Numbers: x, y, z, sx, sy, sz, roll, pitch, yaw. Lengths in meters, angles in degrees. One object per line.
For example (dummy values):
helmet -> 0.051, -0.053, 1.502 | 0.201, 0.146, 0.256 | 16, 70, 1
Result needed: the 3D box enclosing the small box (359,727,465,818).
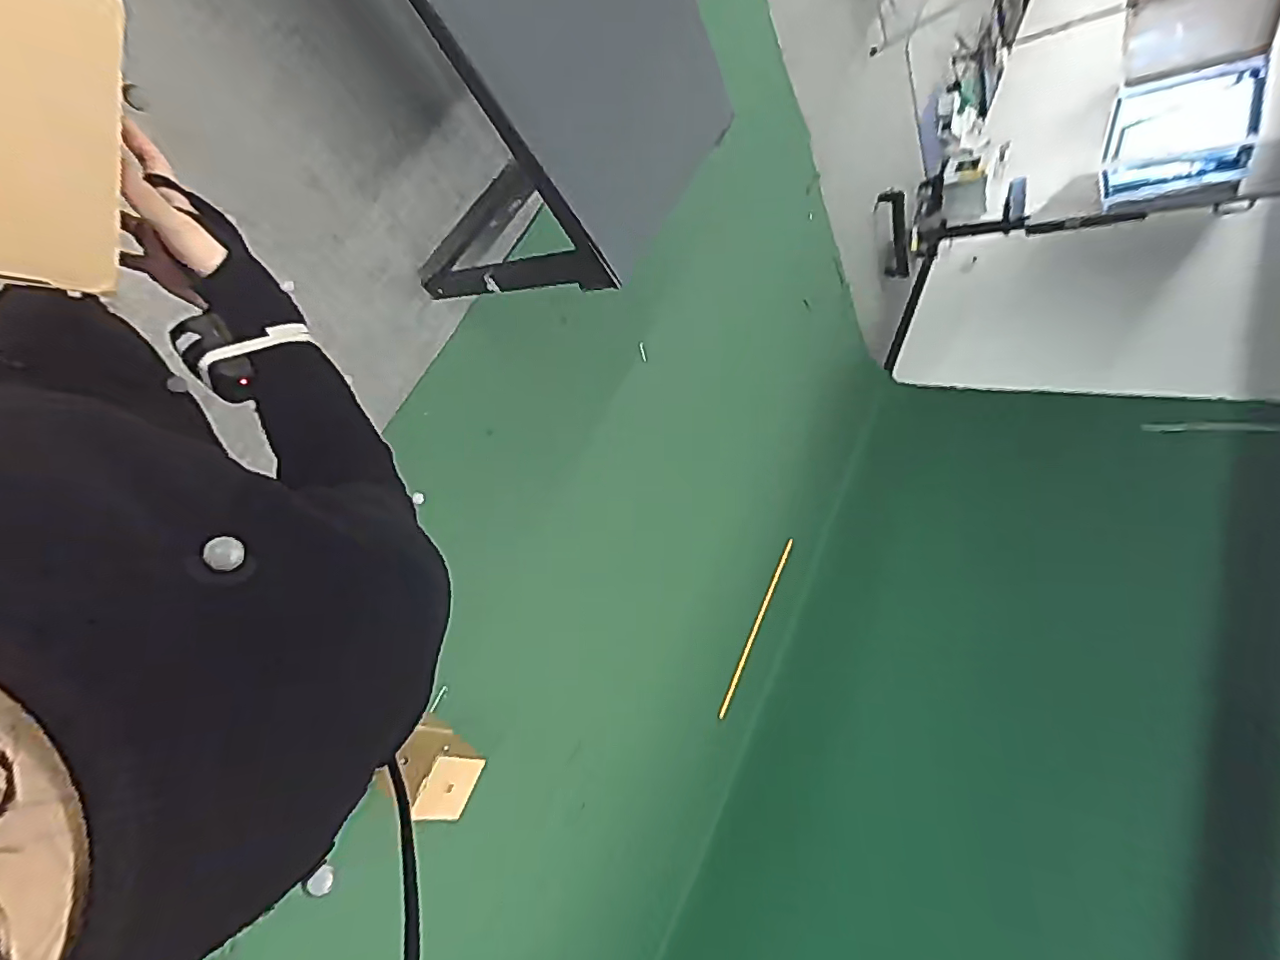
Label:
small box -> -0.634, 0.810, 1.505 | 0.179, 0.176, 0.168 | 42, 67, -48
